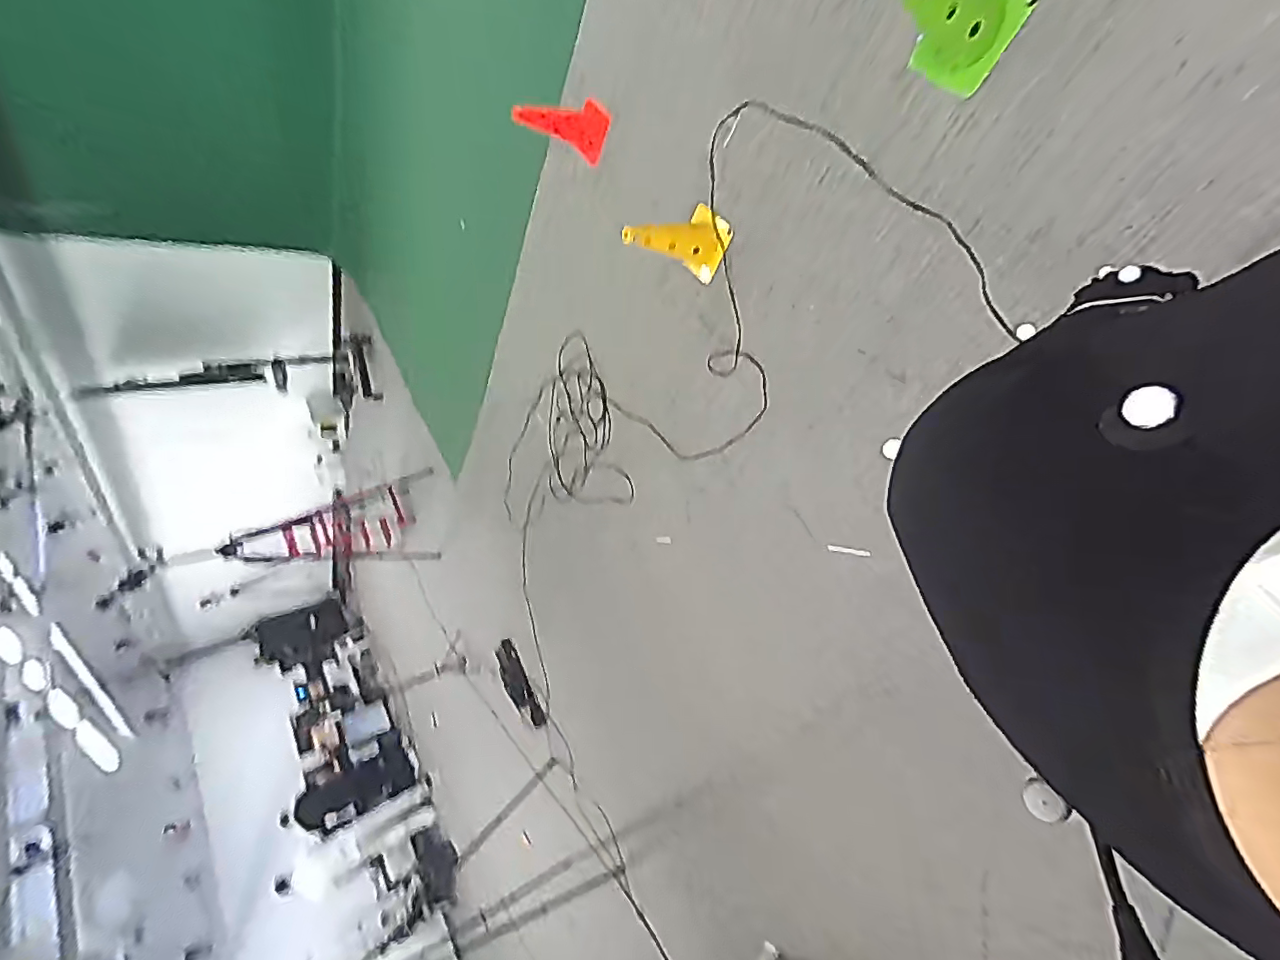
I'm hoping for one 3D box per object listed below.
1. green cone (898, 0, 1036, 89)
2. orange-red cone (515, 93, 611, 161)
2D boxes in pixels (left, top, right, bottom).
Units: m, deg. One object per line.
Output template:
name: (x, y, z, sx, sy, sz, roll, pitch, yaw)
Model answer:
green cone: (0.613, -0.989, 1.111, 0.200, 0.368, 0.202, 55, 138, 26)
orange-red cone: (-0.324, -1.424, 2.134, 0.199, 0.360, 0.198, 55, 138, 23)
